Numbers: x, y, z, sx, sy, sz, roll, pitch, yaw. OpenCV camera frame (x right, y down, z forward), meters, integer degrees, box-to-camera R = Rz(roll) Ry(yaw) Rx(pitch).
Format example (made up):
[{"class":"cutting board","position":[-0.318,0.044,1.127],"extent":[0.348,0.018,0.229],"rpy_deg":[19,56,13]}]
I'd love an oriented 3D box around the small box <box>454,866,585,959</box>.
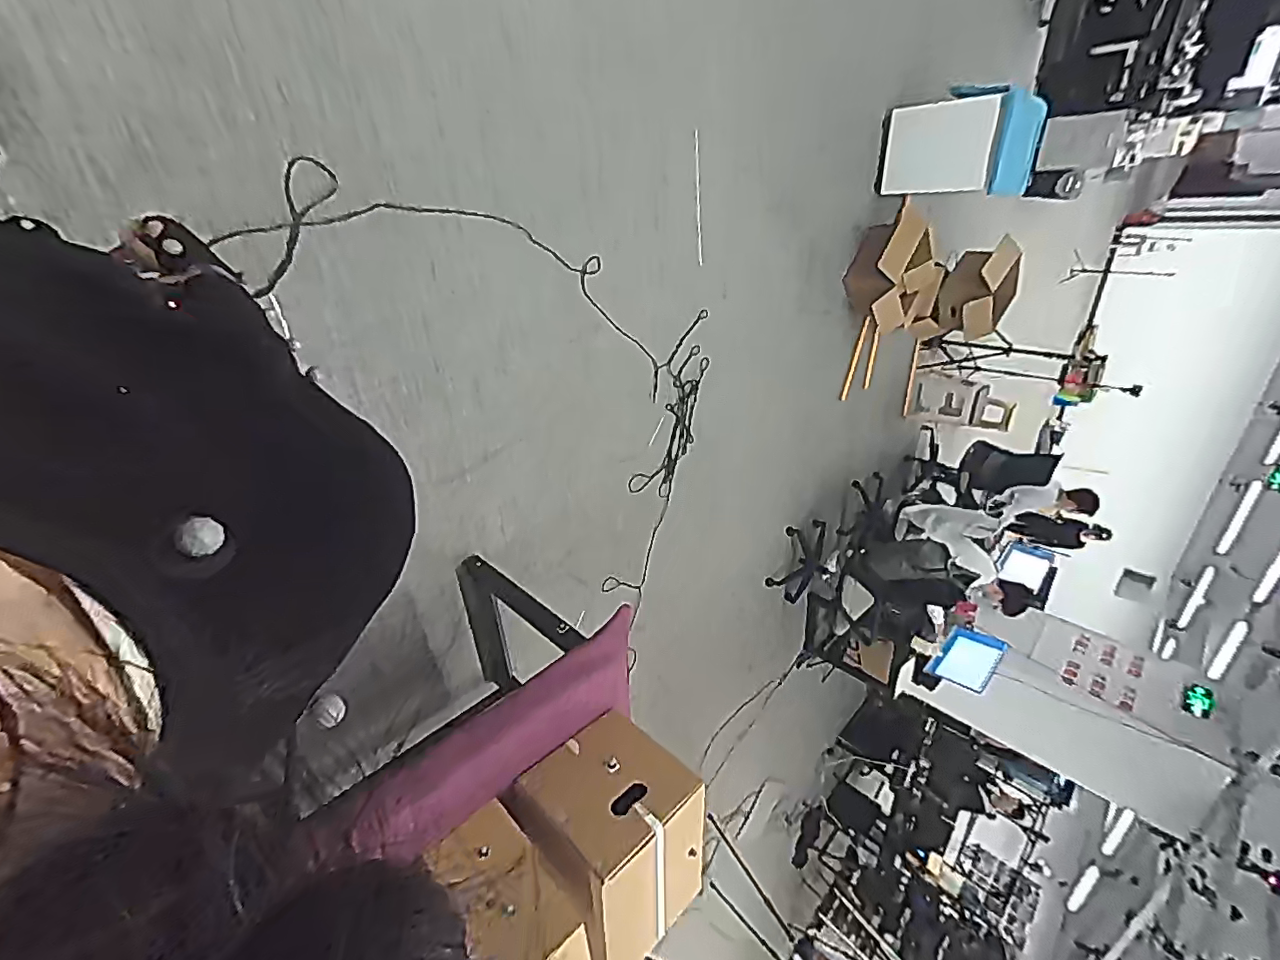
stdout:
[{"class":"small box","position":[-0.217,0.867,0.992],"extent":[0.168,0.176,0.179],"rpy_deg":[-27,125,-38]}]
